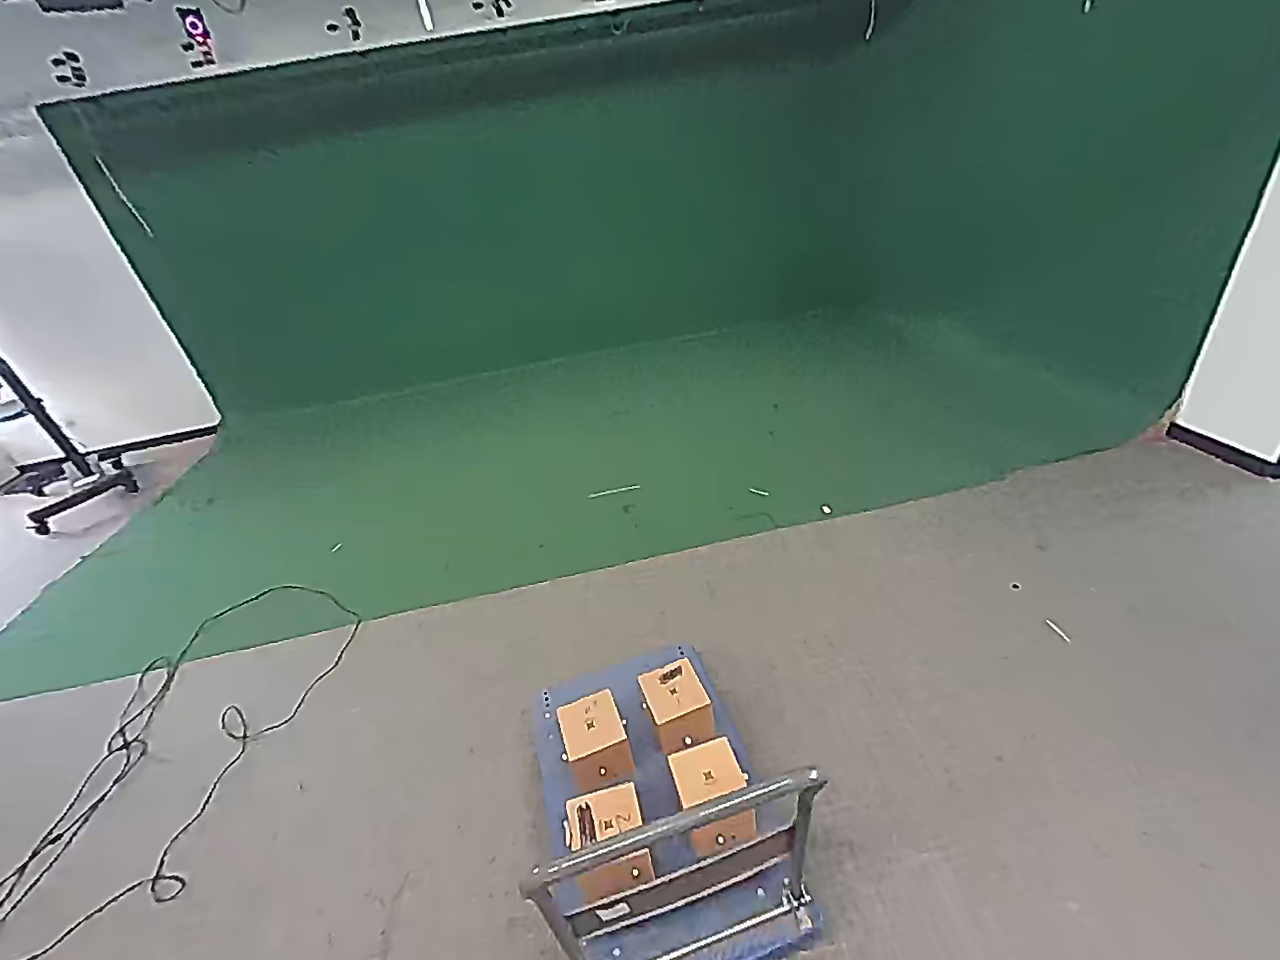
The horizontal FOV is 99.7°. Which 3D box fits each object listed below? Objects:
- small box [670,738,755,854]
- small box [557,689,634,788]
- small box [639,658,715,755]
[{"bbox_3d":[0.183,0.804,1.378,0.168,0.176,0.179,-15,33,-8],"label":"small box"},{"bbox_3d":[-0.125,0.746,1.549,0.168,0.176,0.179,-17,33,-12],"label":"small box"},{"bbox_3d":[0.110,0.671,1.602,0.168,0.176,0.179,-18,34,-11],"label":"small box"}]
